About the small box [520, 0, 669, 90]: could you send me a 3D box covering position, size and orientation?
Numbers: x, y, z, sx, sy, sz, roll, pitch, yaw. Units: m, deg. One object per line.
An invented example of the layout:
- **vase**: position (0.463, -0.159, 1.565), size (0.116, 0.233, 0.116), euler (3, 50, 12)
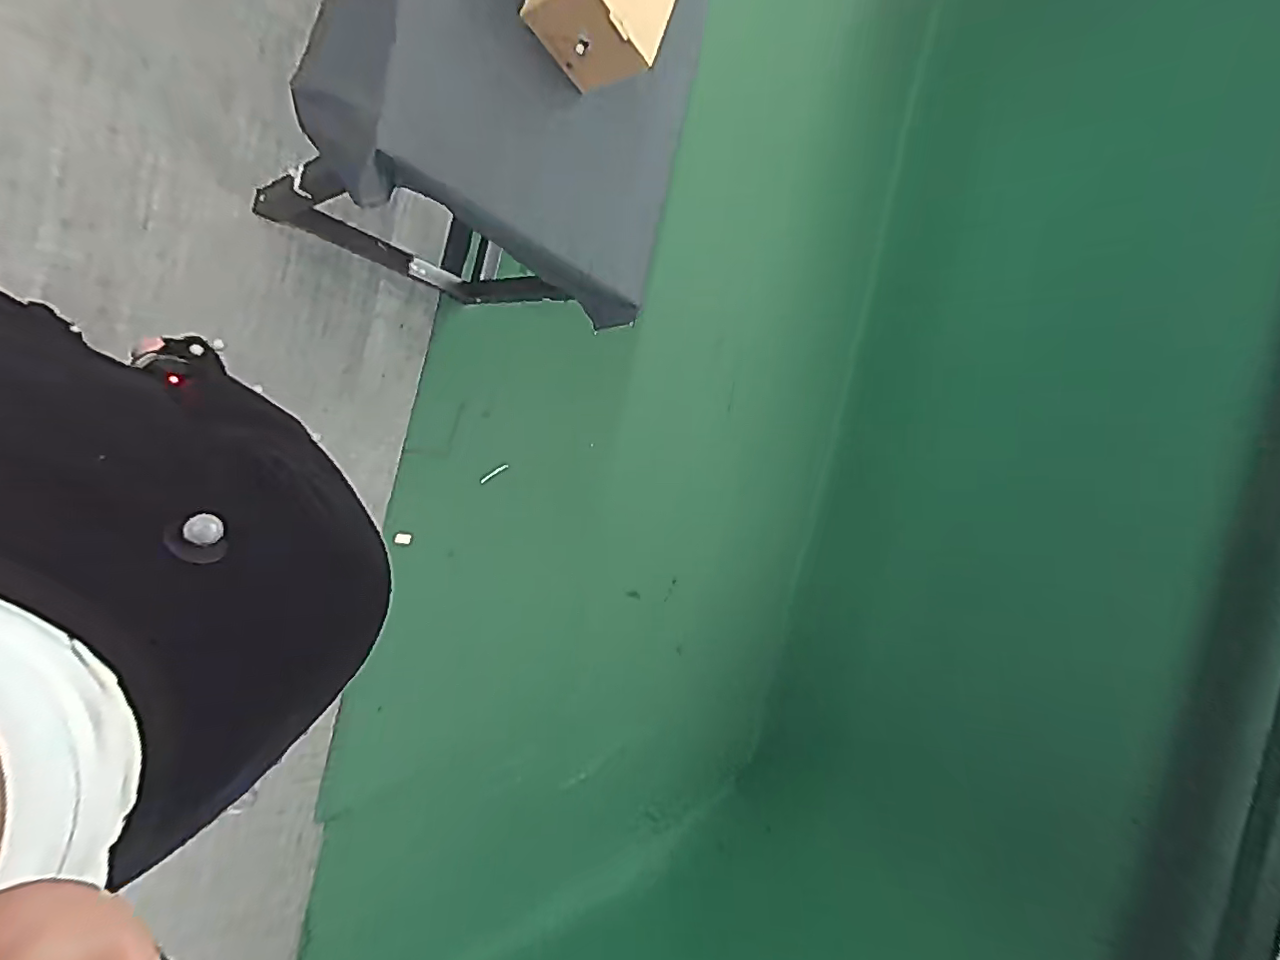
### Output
- **small box**: position (-0.079, -0.820, 0.927), size (0.168, 0.176, 0.179), euler (27, 81, -50)
